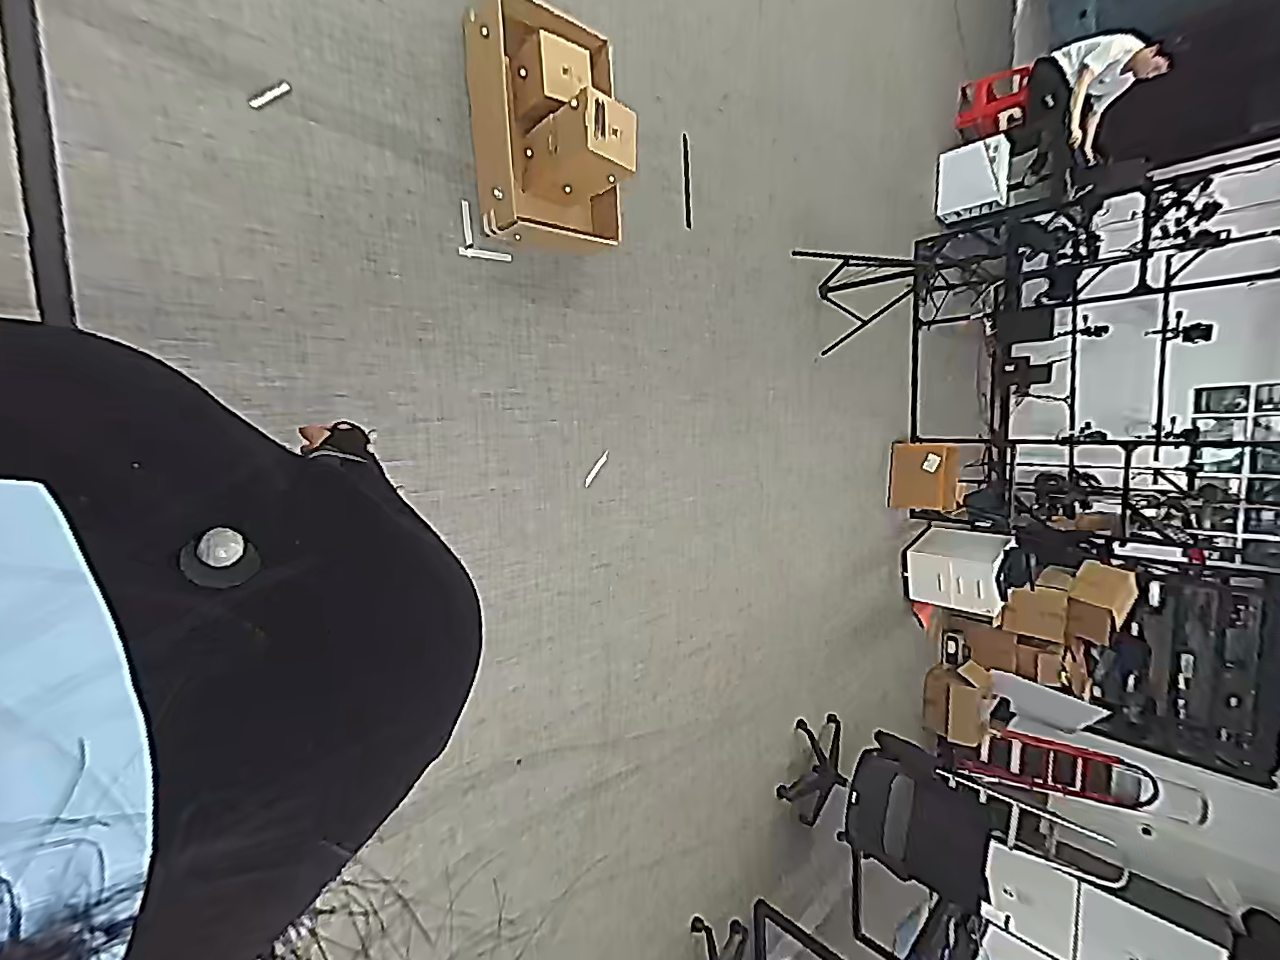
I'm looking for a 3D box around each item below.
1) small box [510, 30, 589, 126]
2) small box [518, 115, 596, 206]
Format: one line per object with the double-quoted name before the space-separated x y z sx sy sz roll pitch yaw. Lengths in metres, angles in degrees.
"small box" -0.273 -1.171 1.602 0.179 0.176 0.168 -11 103 -43
"small box" -0.252 -0.960 1.647 0.179 0.176 0.168 -3 94 -43
